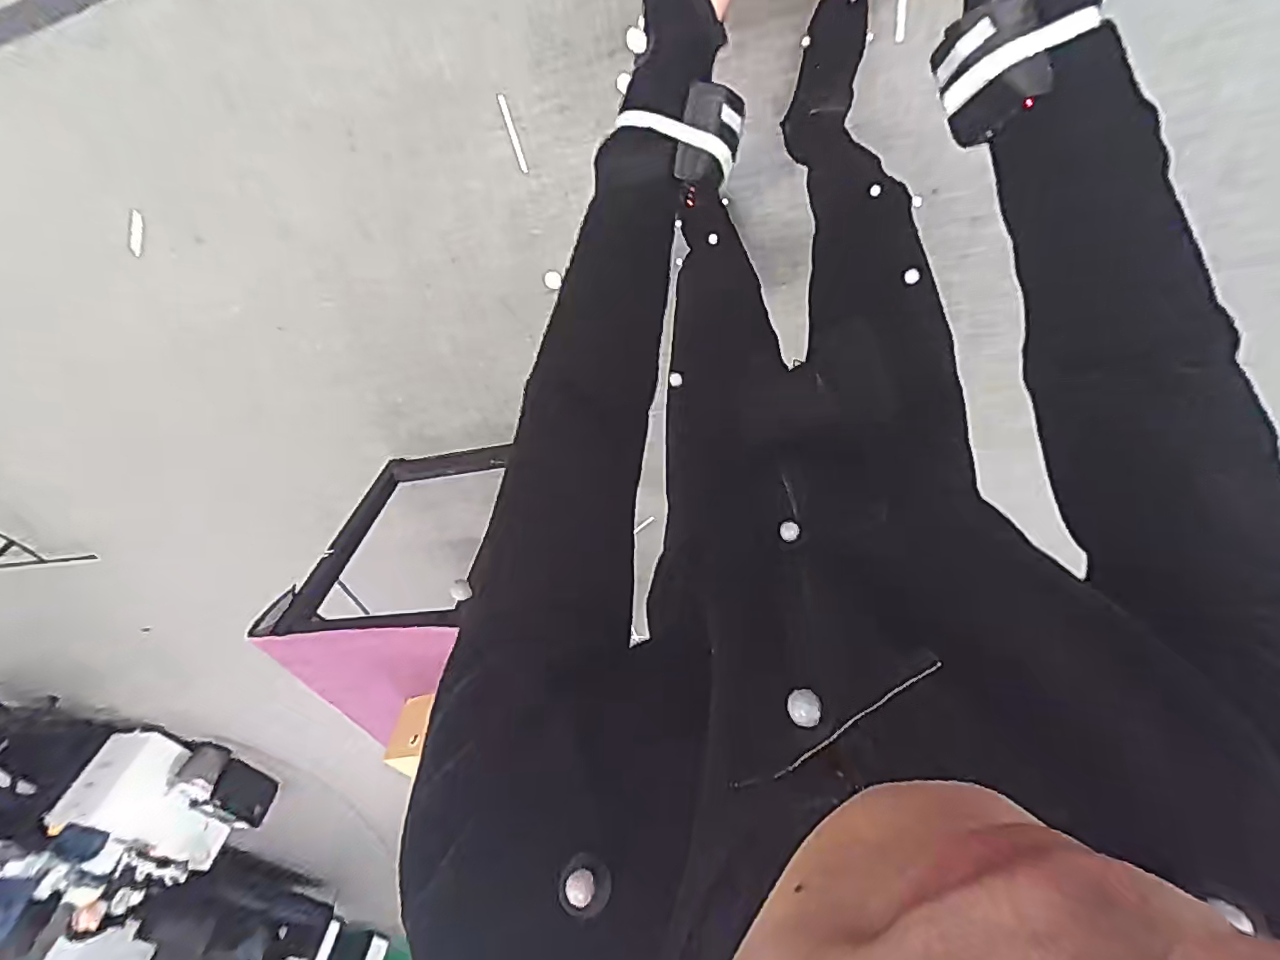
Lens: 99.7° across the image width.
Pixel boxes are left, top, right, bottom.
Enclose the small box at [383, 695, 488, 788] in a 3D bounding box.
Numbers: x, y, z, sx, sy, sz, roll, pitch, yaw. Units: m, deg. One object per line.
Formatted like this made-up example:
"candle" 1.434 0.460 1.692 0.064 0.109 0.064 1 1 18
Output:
"small box" -0.522 0.681 1.416 0.179 0.176 0.168 -17 127 21
